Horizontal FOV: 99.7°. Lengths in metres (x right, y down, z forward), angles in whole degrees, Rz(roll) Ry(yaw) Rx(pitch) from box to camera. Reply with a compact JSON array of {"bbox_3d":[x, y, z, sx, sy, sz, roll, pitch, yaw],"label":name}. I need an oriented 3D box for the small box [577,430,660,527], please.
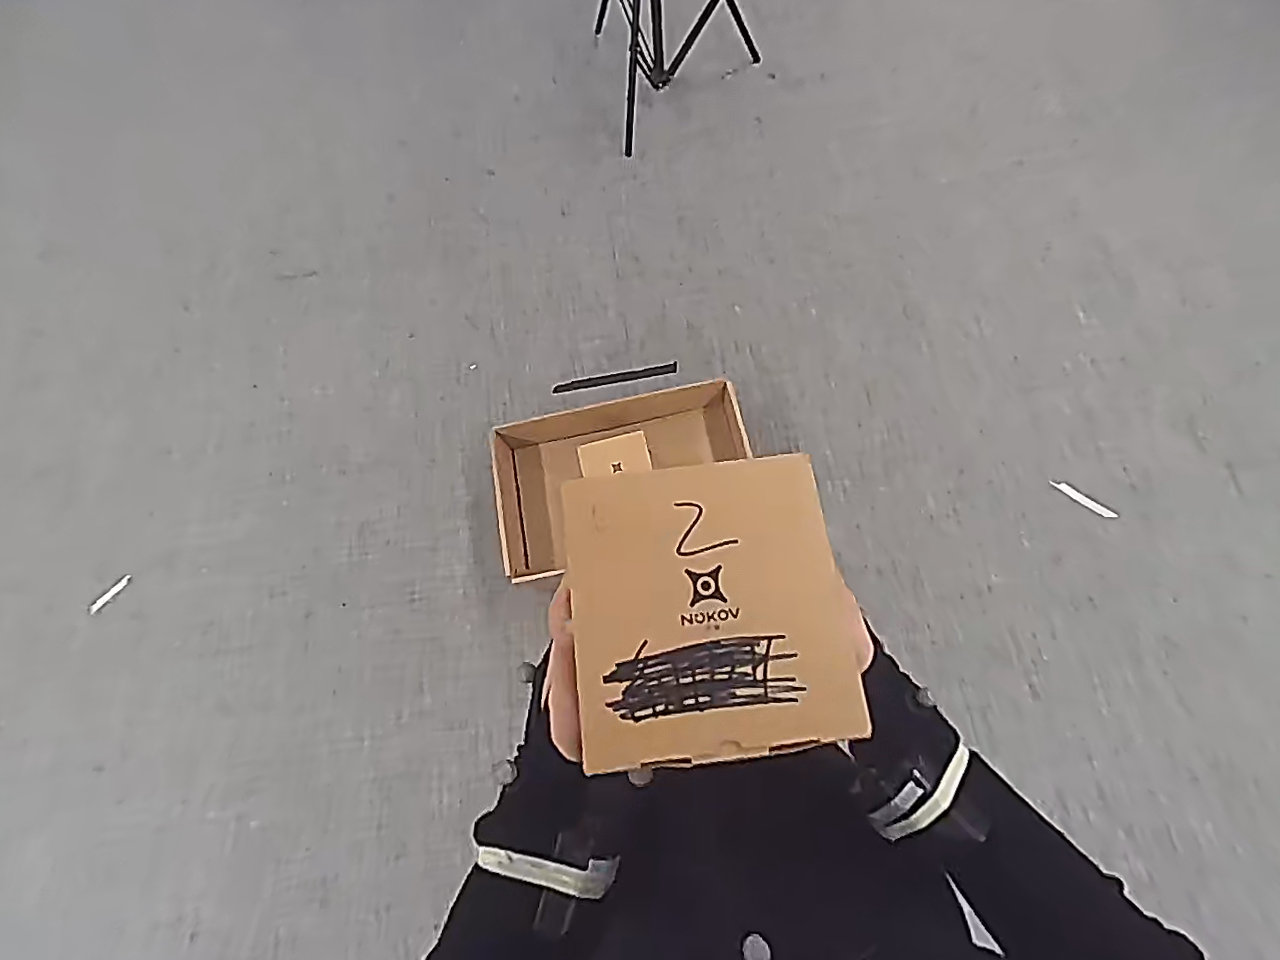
[{"bbox_3d":[-0.049,0.002,1.341,0.168,0.176,0.179,-14,72,1],"label":"small box"}]
